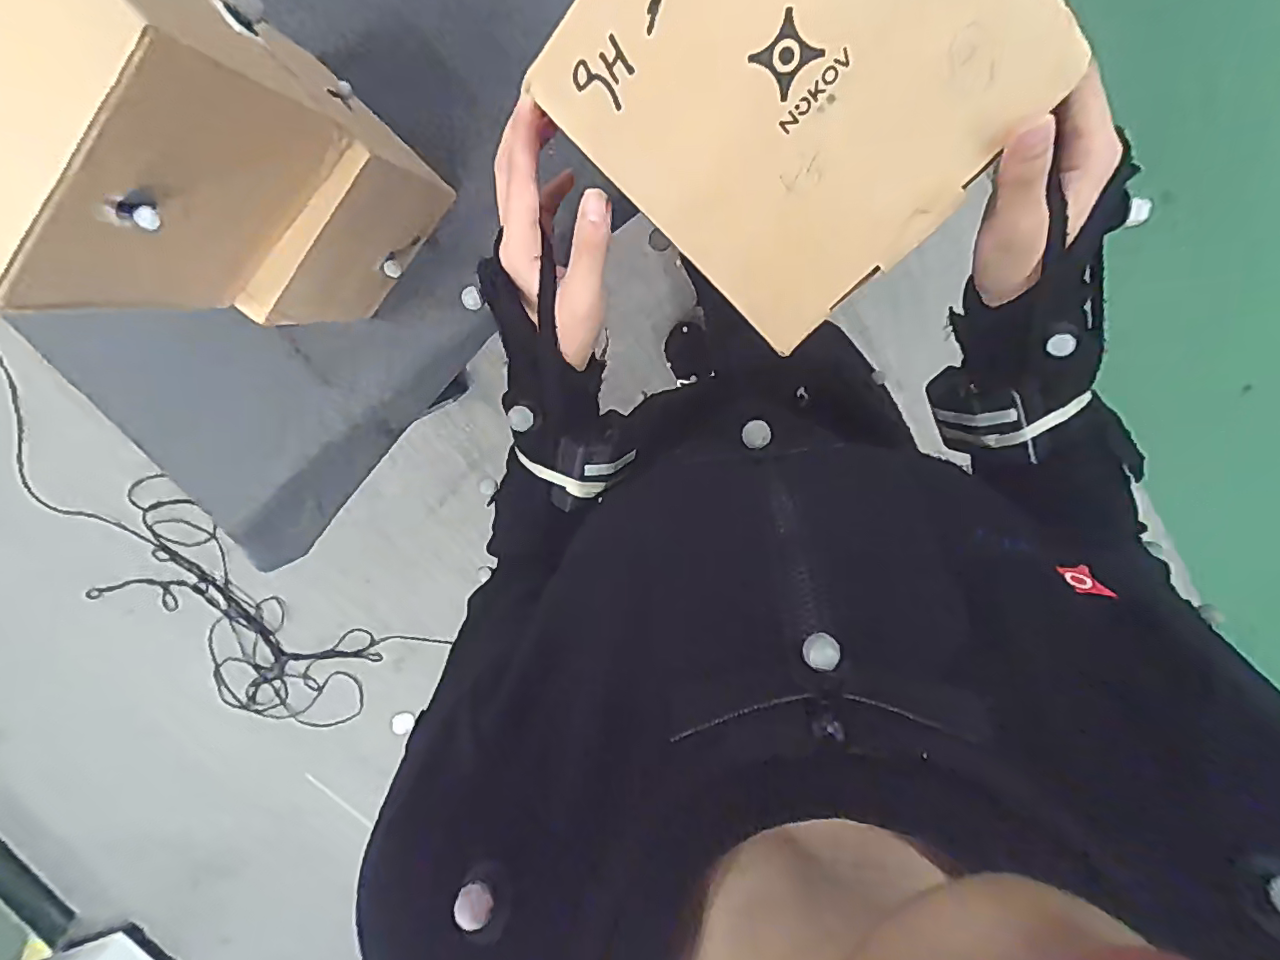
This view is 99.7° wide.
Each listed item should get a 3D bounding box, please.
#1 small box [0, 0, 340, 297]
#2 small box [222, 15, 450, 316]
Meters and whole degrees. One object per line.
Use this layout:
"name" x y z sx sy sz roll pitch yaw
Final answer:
"small box" -0.318 -0.223 0.308 0.179 0.176 0.168 -41 103 14
"small box" -0.303 -0.262 0.465 0.179 0.176 0.168 42 106 -11
